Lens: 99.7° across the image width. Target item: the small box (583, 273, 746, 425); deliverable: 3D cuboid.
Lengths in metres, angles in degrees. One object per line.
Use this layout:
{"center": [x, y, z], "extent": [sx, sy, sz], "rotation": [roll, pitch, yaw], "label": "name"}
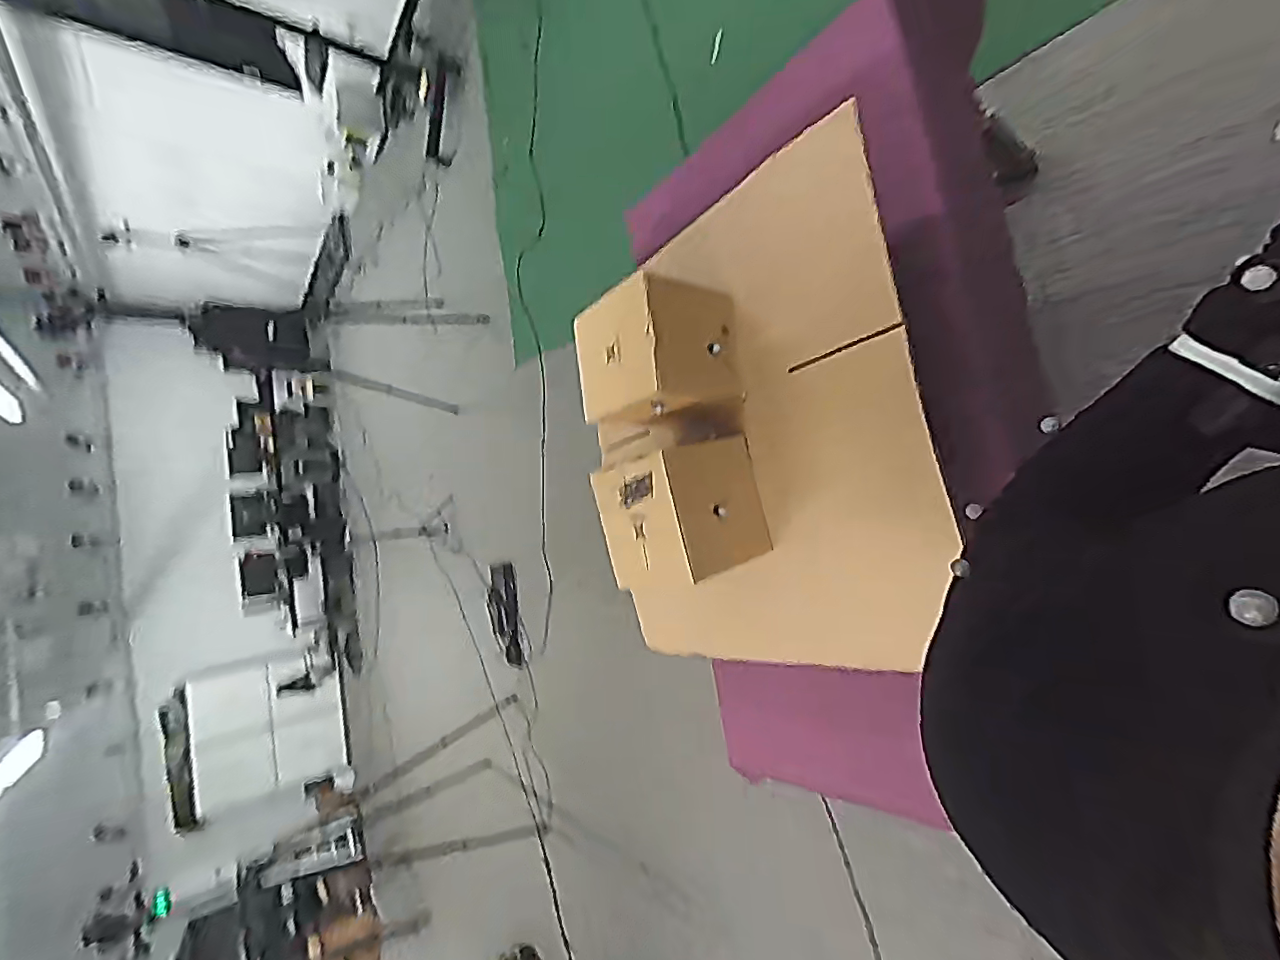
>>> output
{"center": [0.035, -0.183, 0.820], "extent": [0.179, 0.176, 0.168], "rotation": [-15, 80, 50], "label": "small box"}
